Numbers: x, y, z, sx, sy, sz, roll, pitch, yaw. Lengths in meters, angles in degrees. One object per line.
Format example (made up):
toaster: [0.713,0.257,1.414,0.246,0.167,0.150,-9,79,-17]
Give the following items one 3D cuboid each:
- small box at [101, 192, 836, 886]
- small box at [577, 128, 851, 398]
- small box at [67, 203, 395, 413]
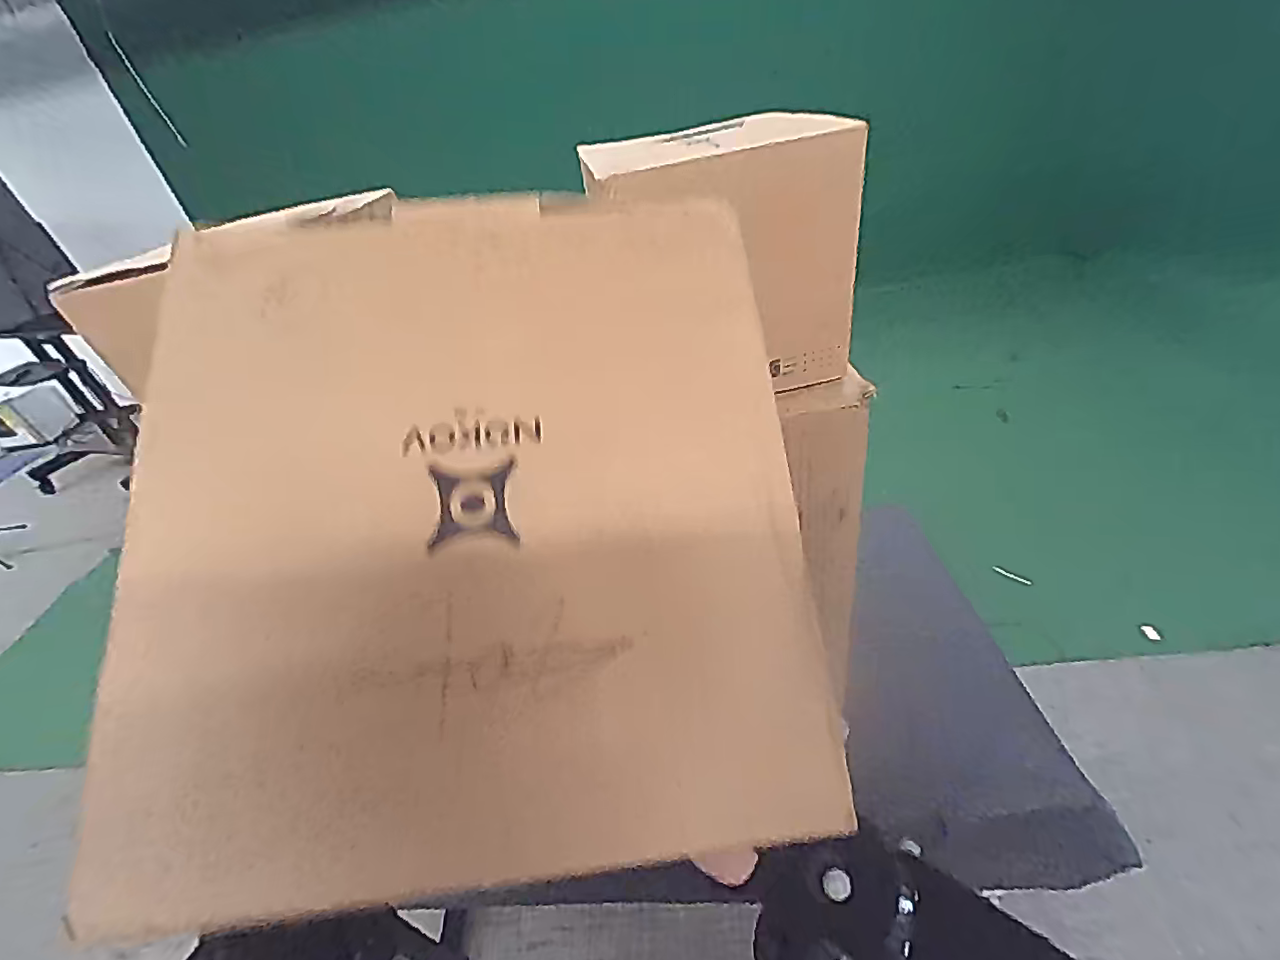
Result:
small box: [-0.046,0.020,0.221,0.168,0.176,0.179,-6,75,-4]
small box: [0.049,-0.171,0.440,0.168,0.176,0.179,-13,37,-2]
small box: [-0.271,-0.106,0.449,0.179,0.176,0.168,-12,37,4]
